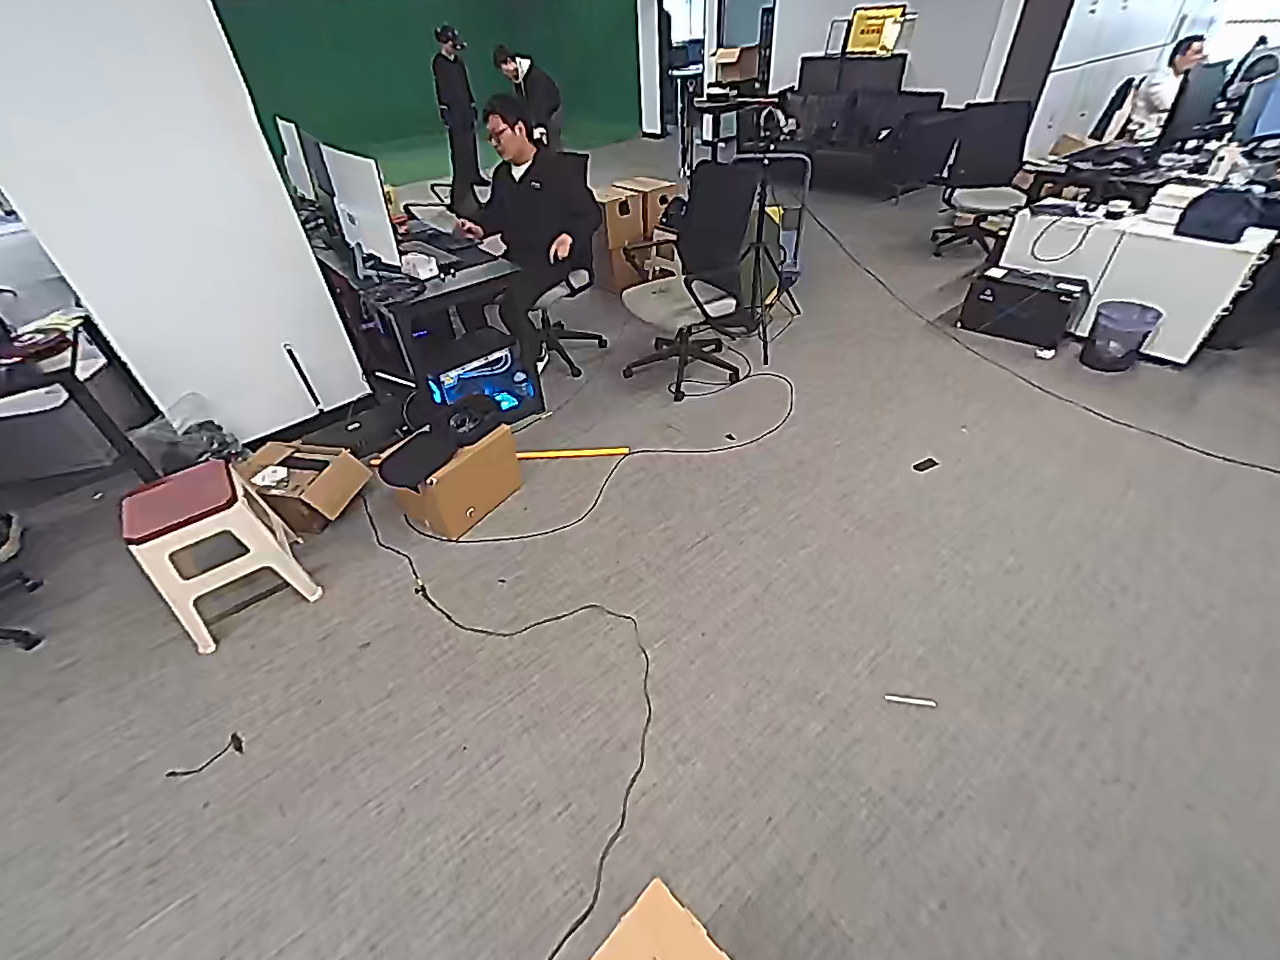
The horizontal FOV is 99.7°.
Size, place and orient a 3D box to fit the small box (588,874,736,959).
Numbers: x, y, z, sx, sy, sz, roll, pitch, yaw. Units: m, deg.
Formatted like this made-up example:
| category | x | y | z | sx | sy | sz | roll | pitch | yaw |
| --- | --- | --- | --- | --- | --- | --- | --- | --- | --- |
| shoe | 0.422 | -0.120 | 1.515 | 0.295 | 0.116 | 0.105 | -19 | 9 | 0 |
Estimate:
| category | x | y | z | sx | sy | sz | roll | pitch | yaw |
| --- | --- | --- | --- | --- | --- | --- | --- | --- | --- |
| small box | 0.029 | 0.765 | 0.827 | 0.168 | 0.176 | 0.179 | 30 | 50 | 34 |
